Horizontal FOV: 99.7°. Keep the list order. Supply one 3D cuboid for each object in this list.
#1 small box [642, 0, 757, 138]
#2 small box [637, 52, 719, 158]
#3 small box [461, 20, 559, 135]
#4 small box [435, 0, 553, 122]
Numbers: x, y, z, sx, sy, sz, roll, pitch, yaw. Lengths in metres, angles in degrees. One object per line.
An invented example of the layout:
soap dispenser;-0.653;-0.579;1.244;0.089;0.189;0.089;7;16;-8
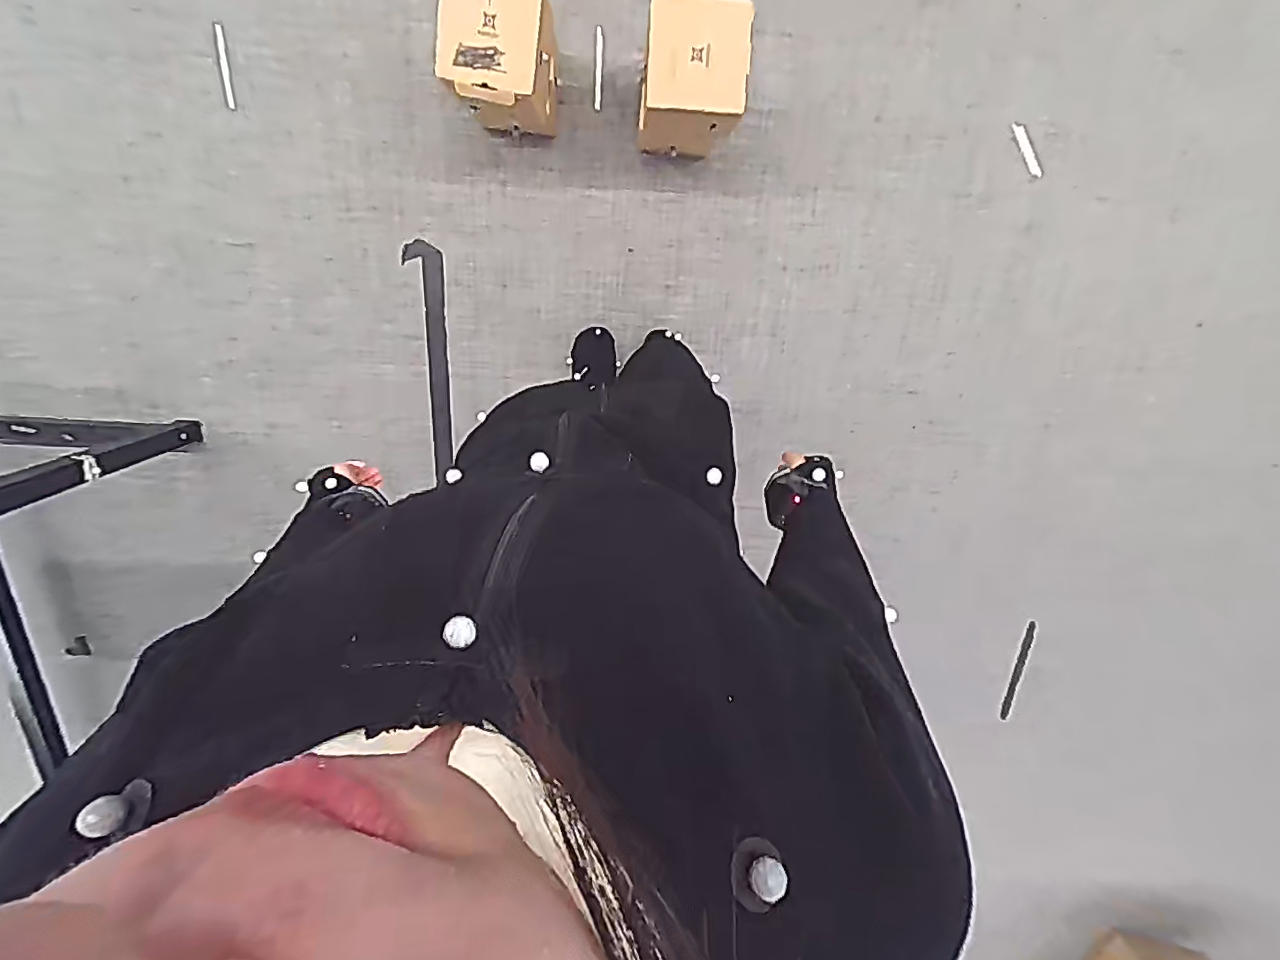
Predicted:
small box;0.098;-0.742;0.986;0.179;0.176;0.168;2;109;-3
small box;0.084;-0.803;1.136;0.168;0.176;0.179;5;110;-4
small box;-0.262;-0.829;1.112;0.179;0.176;0.168;4;110;-5
small box;-0.251;-0.767;0.959;0.168;0.176;0.179;9;109;-6
